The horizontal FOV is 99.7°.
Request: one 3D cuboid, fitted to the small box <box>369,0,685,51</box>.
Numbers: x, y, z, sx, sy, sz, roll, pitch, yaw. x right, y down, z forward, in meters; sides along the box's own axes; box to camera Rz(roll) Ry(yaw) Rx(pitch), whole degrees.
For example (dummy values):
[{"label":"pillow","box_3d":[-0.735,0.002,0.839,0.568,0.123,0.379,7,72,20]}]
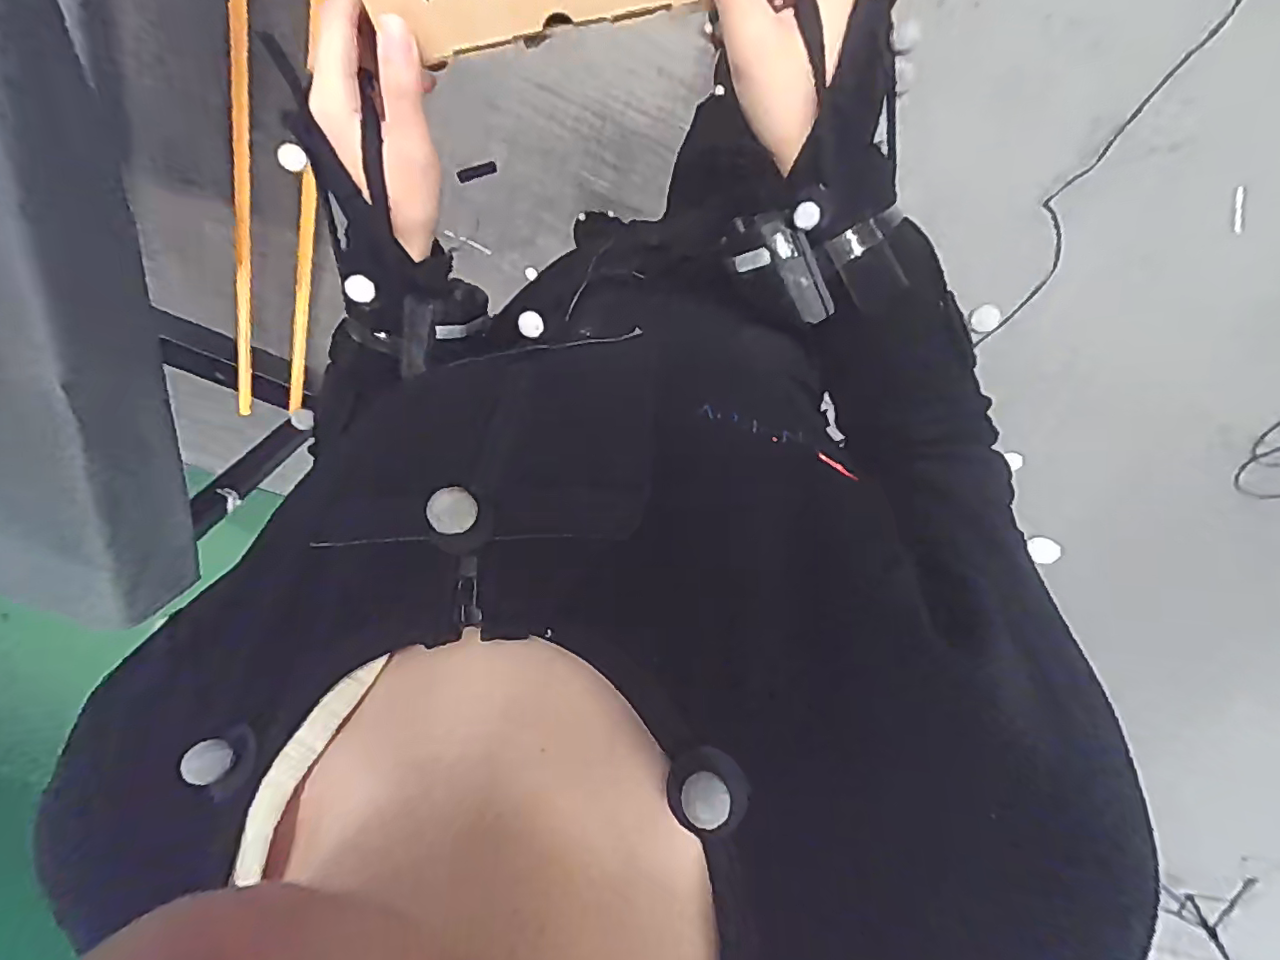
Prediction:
[{"label":"small box","box_3d":[-0.047,-0.322,0.228,0.168,0.176,0.179,-5,139,7]}]
